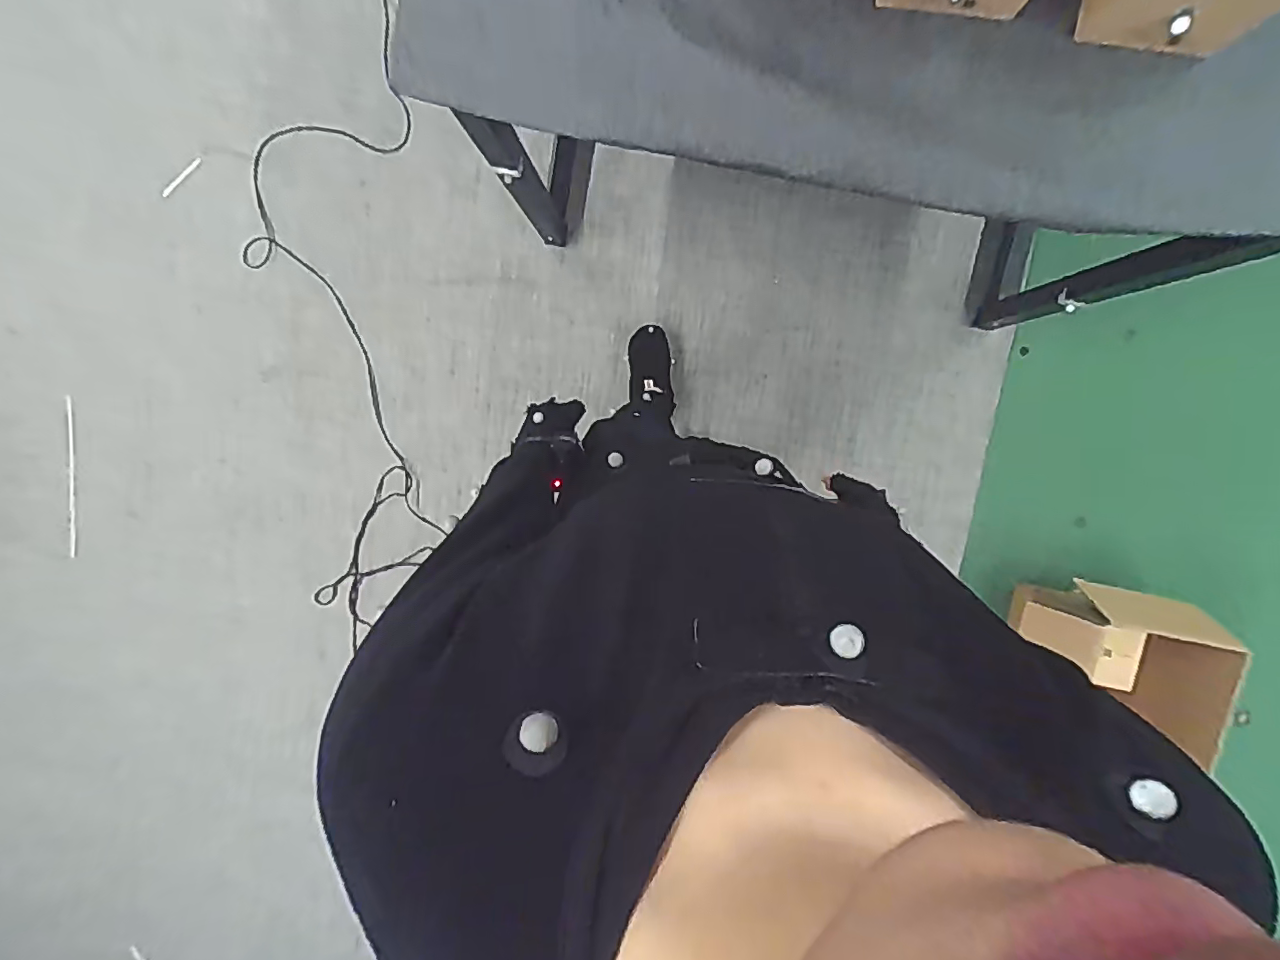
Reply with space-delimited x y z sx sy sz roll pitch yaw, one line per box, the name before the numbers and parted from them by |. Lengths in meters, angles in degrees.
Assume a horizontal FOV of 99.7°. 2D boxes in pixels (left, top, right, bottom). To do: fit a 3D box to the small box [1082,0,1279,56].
small box | 0.610 -0.593 0.556 0.168 0.176 0.179 9 97 3
